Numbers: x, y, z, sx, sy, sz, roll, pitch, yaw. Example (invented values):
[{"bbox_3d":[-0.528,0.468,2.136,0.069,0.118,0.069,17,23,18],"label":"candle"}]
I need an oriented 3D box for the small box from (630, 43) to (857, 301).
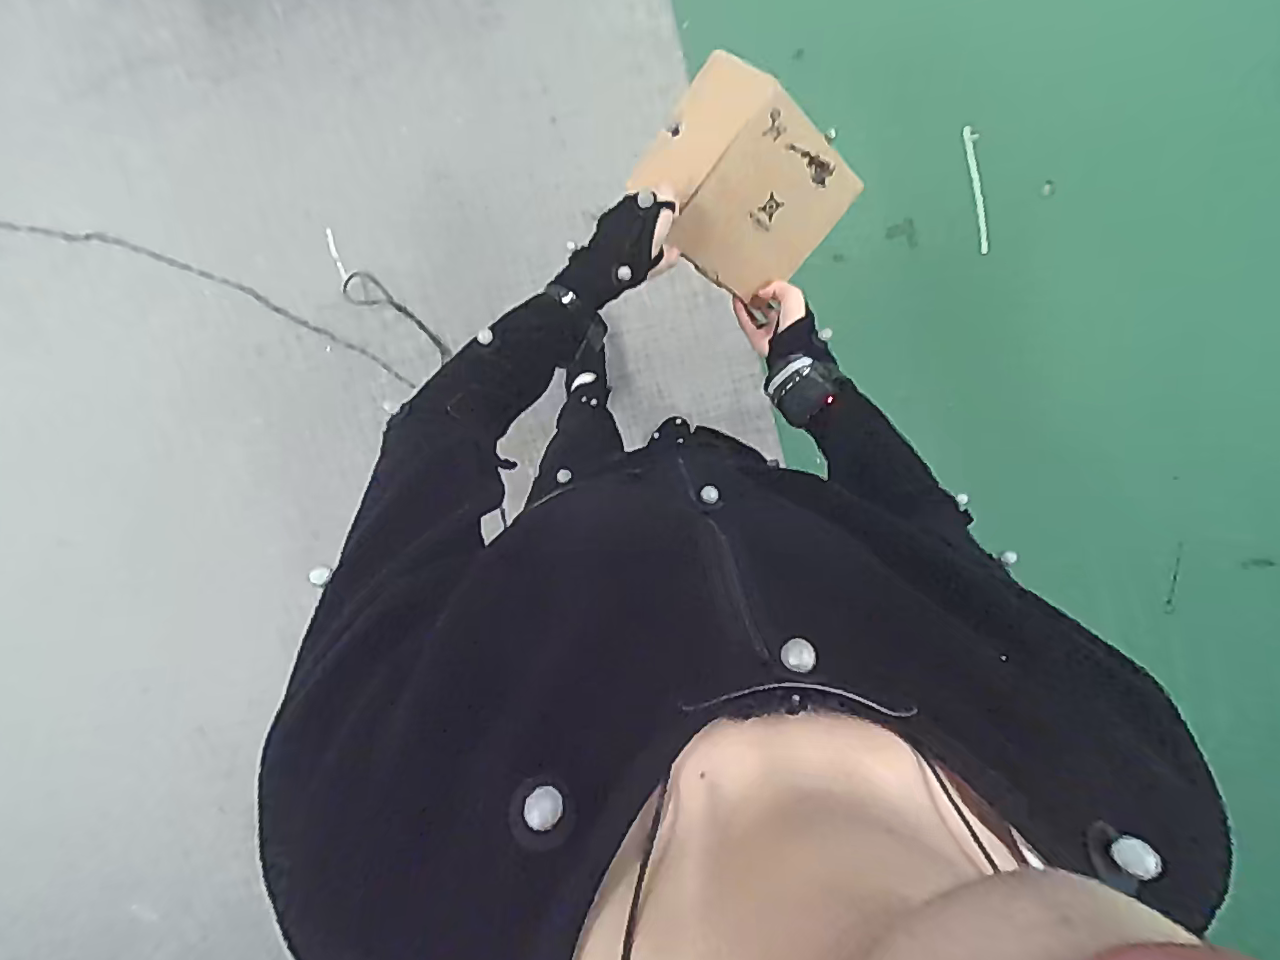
[{"bbox_3d":[0.105,-0.354,0.629,0.168,0.176,0.179,21,125,-36],"label":"small box"}]
